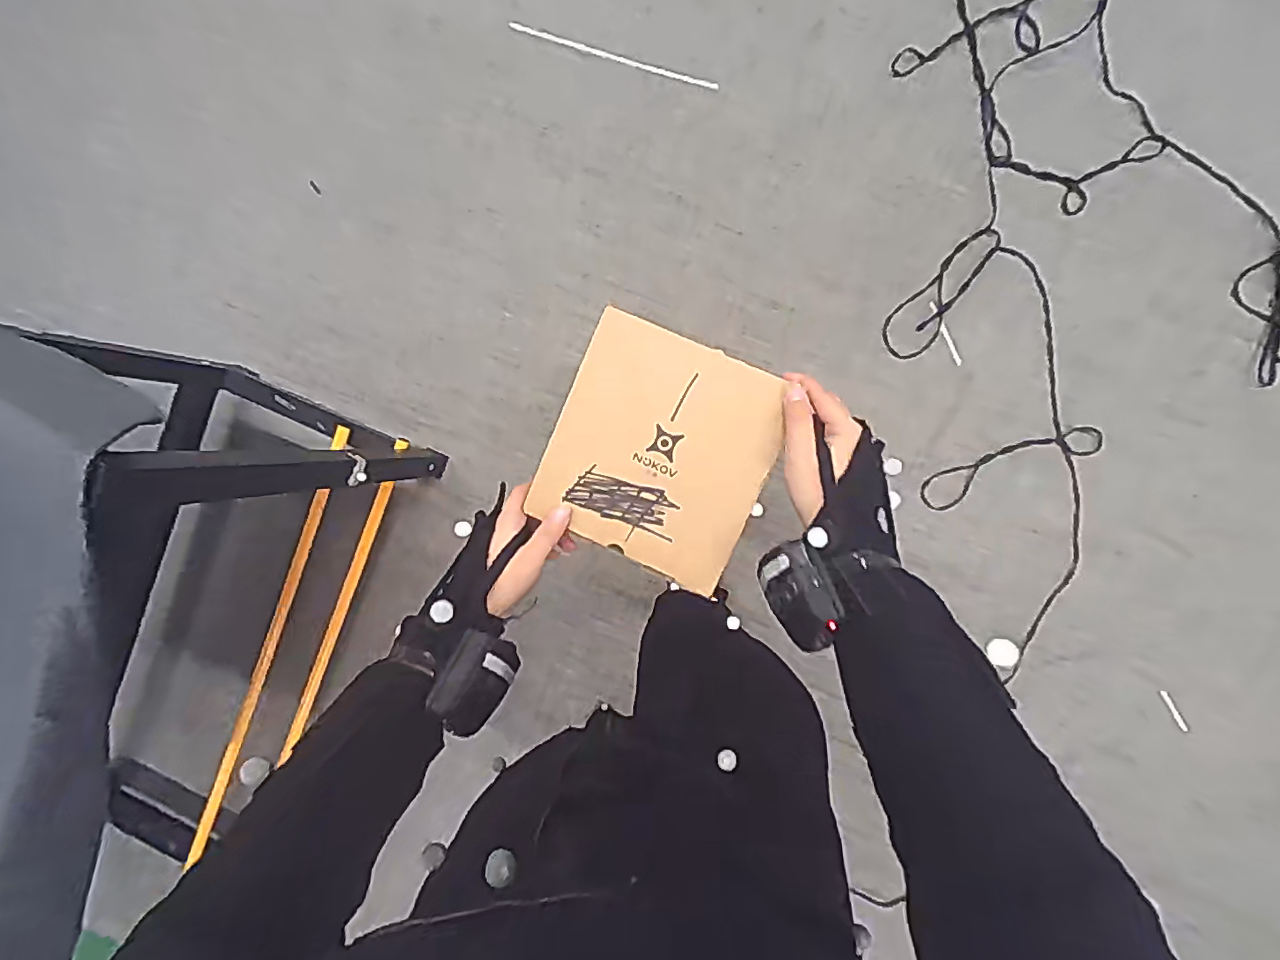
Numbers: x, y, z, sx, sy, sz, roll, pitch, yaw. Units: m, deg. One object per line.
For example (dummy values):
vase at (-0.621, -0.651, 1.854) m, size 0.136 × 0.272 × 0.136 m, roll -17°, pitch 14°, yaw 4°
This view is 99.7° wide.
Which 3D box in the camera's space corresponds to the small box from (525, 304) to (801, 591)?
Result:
small box at (0.024, -0.029, 0.495) m, size 0.168 × 0.176 × 0.179 m, roll 24°, pitch 96°, yaw 4°
